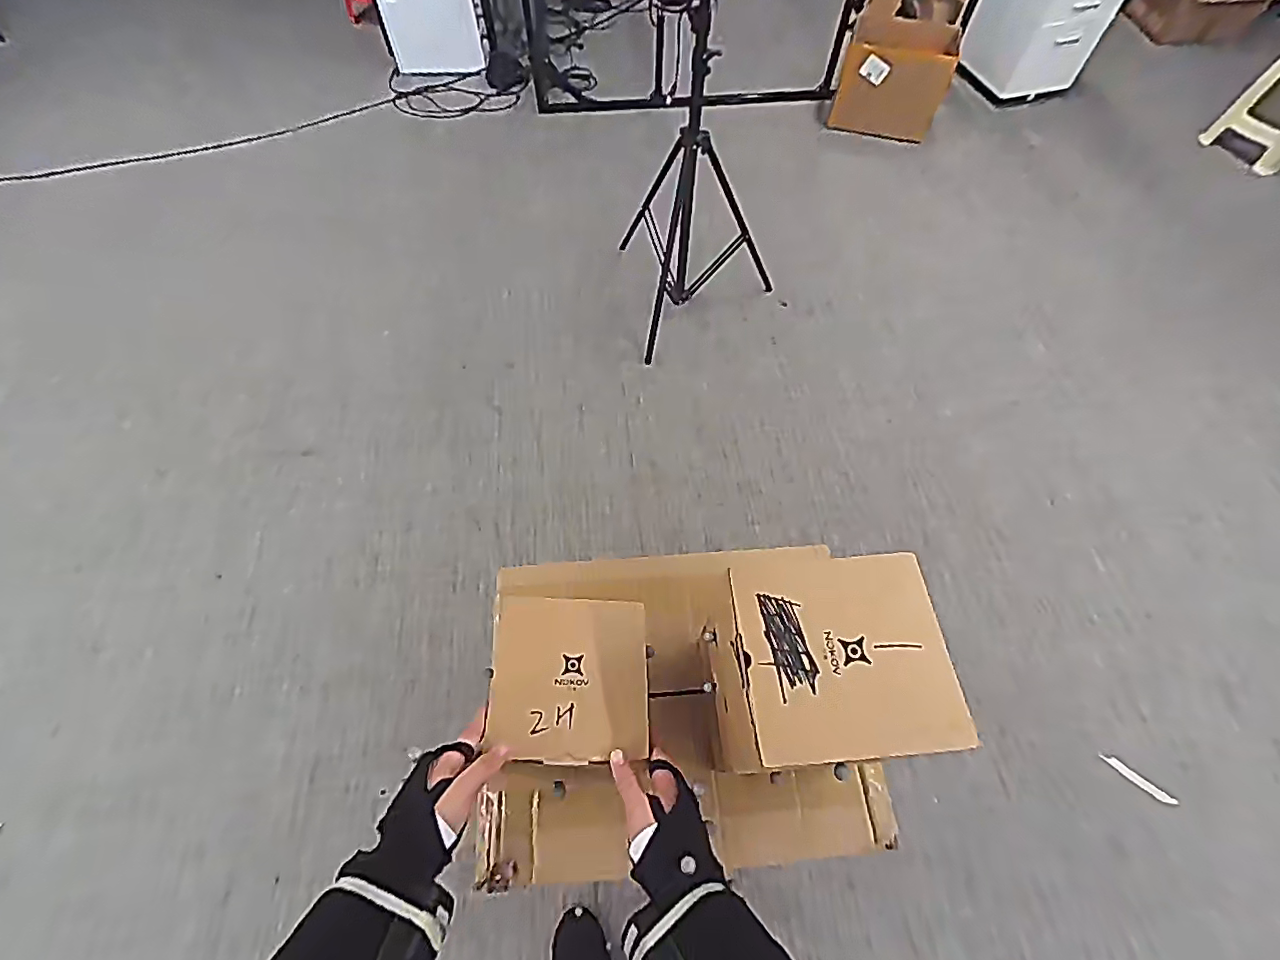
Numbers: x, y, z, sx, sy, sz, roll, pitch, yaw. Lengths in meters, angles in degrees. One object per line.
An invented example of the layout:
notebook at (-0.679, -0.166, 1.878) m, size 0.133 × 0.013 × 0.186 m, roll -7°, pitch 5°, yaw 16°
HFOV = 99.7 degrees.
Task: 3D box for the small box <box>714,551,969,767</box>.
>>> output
small box at (0.171, 0.183, 0.533) m, size 0.179 × 0.176 × 0.168 m, roll -5°, pitch 61°, yaw -2°

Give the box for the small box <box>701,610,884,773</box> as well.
small box at (0.172, 0.263, 0.678) m, size 0.168 × 0.176 × 0.179 m, roll -6°, pitch 62°, yaw -1°

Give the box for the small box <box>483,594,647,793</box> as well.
small box at (-0.087, 0.258, 0.645) m, size 0.168 × 0.176 × 0.179 m, roll 5°, pitch 51°, yaw -8°
